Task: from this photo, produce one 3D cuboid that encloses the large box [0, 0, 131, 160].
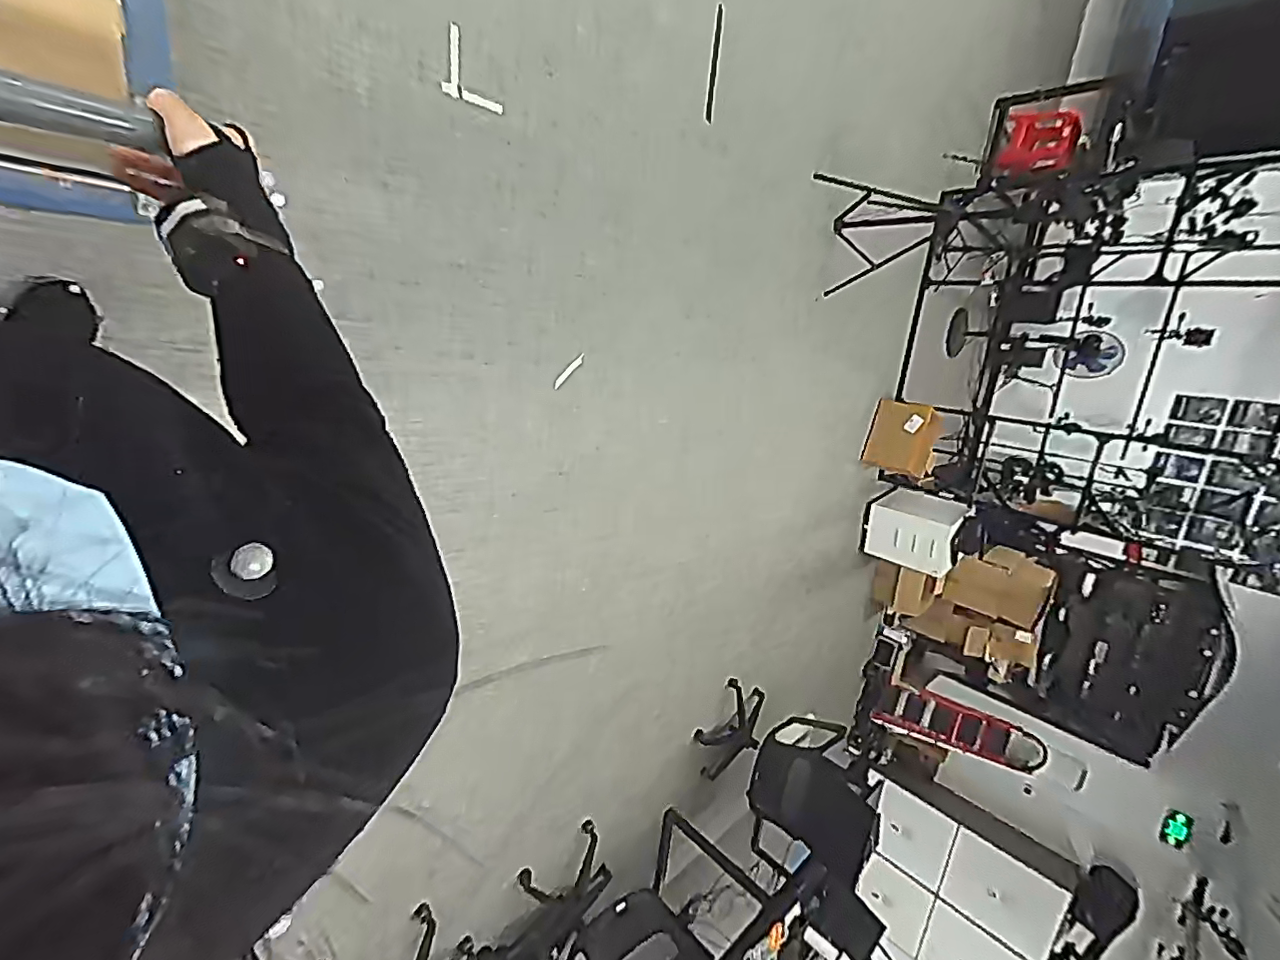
[{"bbox_3d":[-0.892,-0.611,0.619,0.408,0.320,0.320,-10,112,-45],"label":"large box"}]
